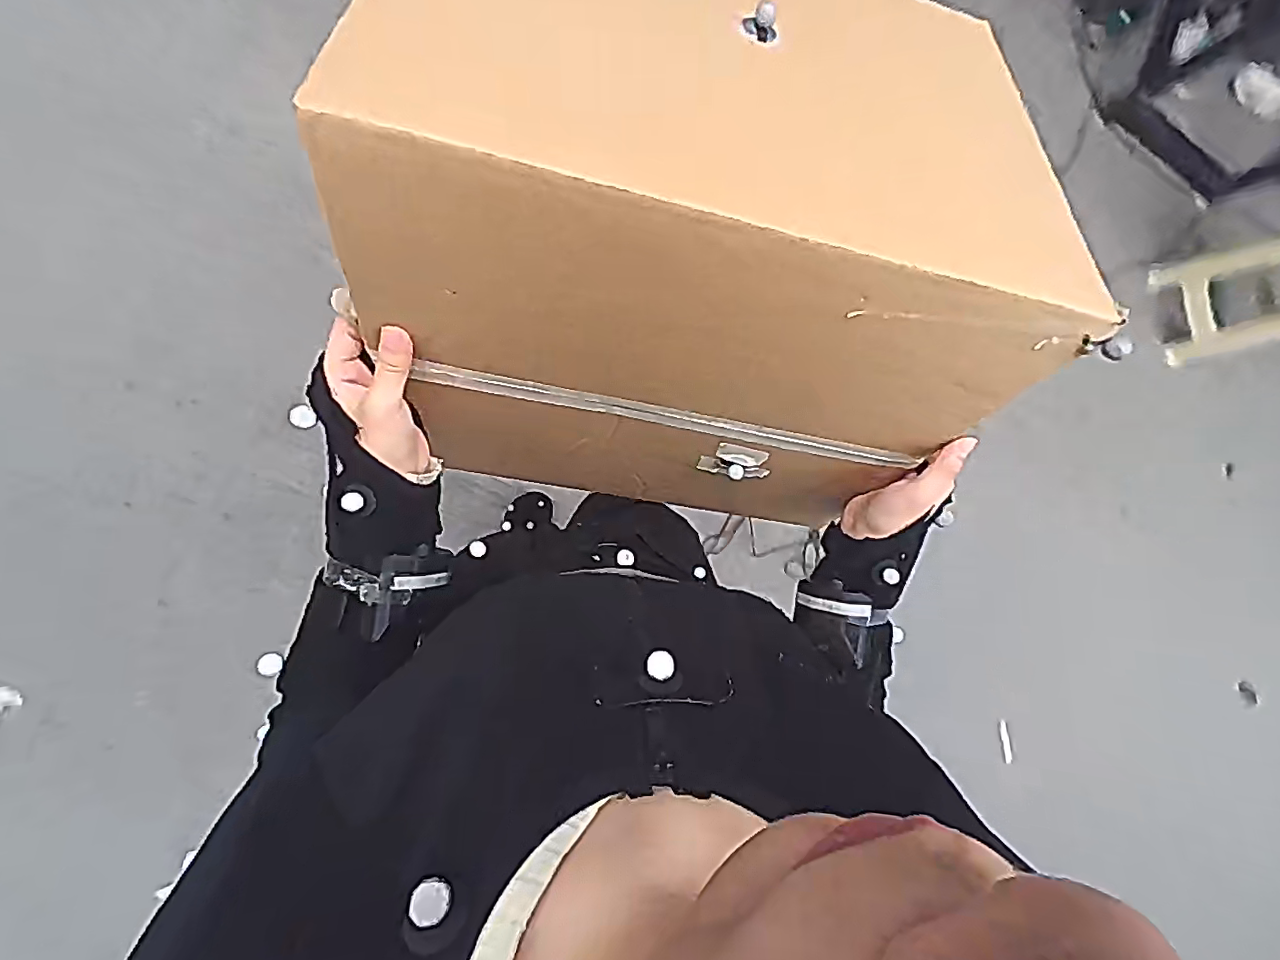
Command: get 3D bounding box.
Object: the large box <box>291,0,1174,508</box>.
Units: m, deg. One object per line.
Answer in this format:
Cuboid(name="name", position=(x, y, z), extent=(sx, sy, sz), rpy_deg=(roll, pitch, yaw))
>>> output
Cuboid(name="large box", position=(0.038, -0.197, 0.424), extent=(0.408, 0.320, 0.320), rpy_deg=(8, 64, -11))
